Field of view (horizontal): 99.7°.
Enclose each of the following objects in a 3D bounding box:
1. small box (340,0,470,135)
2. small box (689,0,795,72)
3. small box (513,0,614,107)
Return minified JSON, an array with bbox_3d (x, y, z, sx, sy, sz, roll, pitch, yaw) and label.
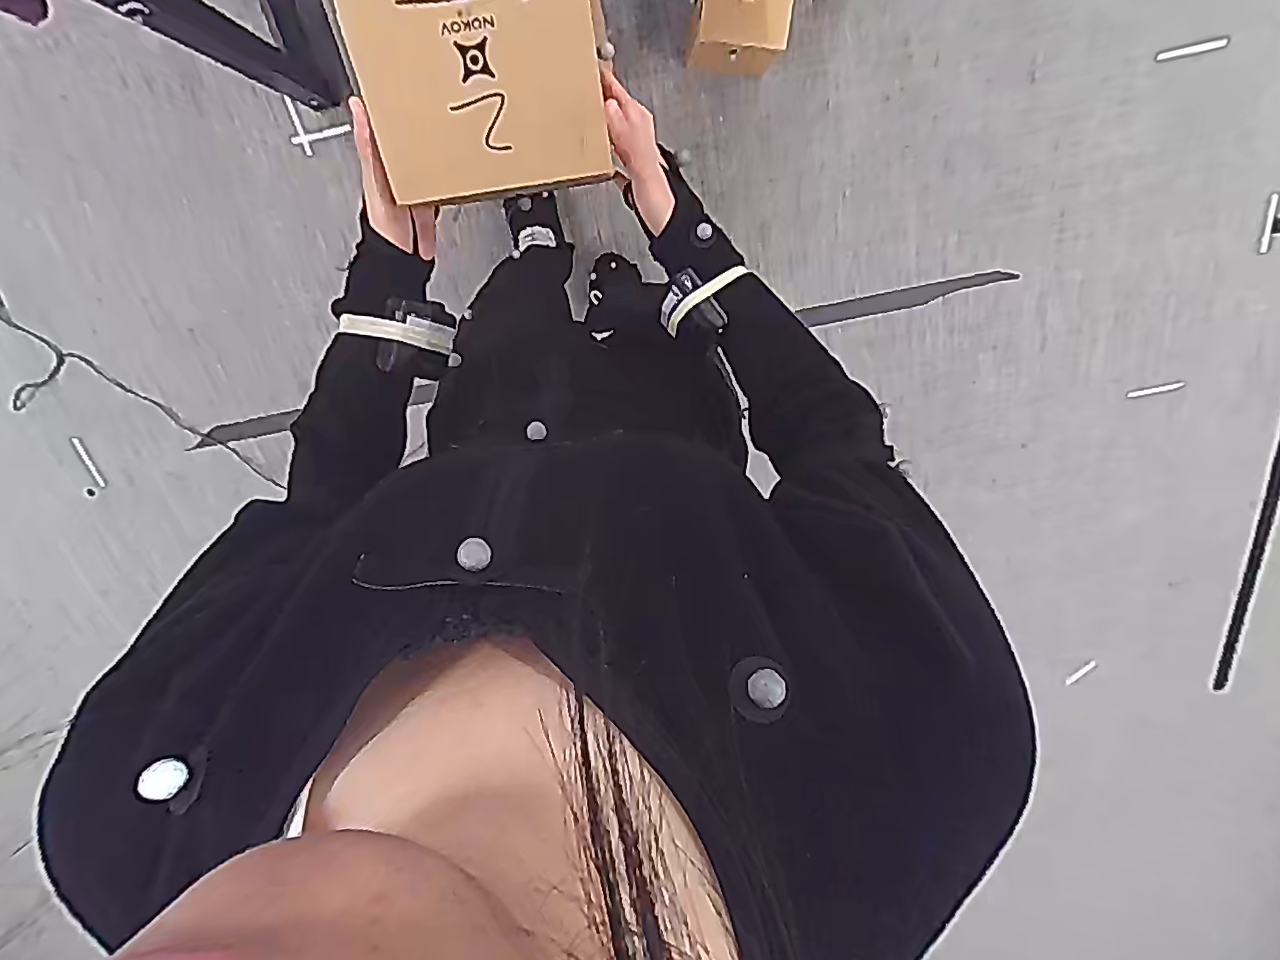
[{"bbox_3d":[-0.462,-0.827,1.091,0.168,0.176,0.179,-10,111,1],"label":"small box"},{"bbox_3d":[0.202,-0.941,1.078,0.179,0.176,0.168,4,112,-4],"label":"small box"},{"bbox_3d":[-0.150,-0.884,1.083,0.168,0.176,0.179,-12,113,2],"label":"small box"}]
